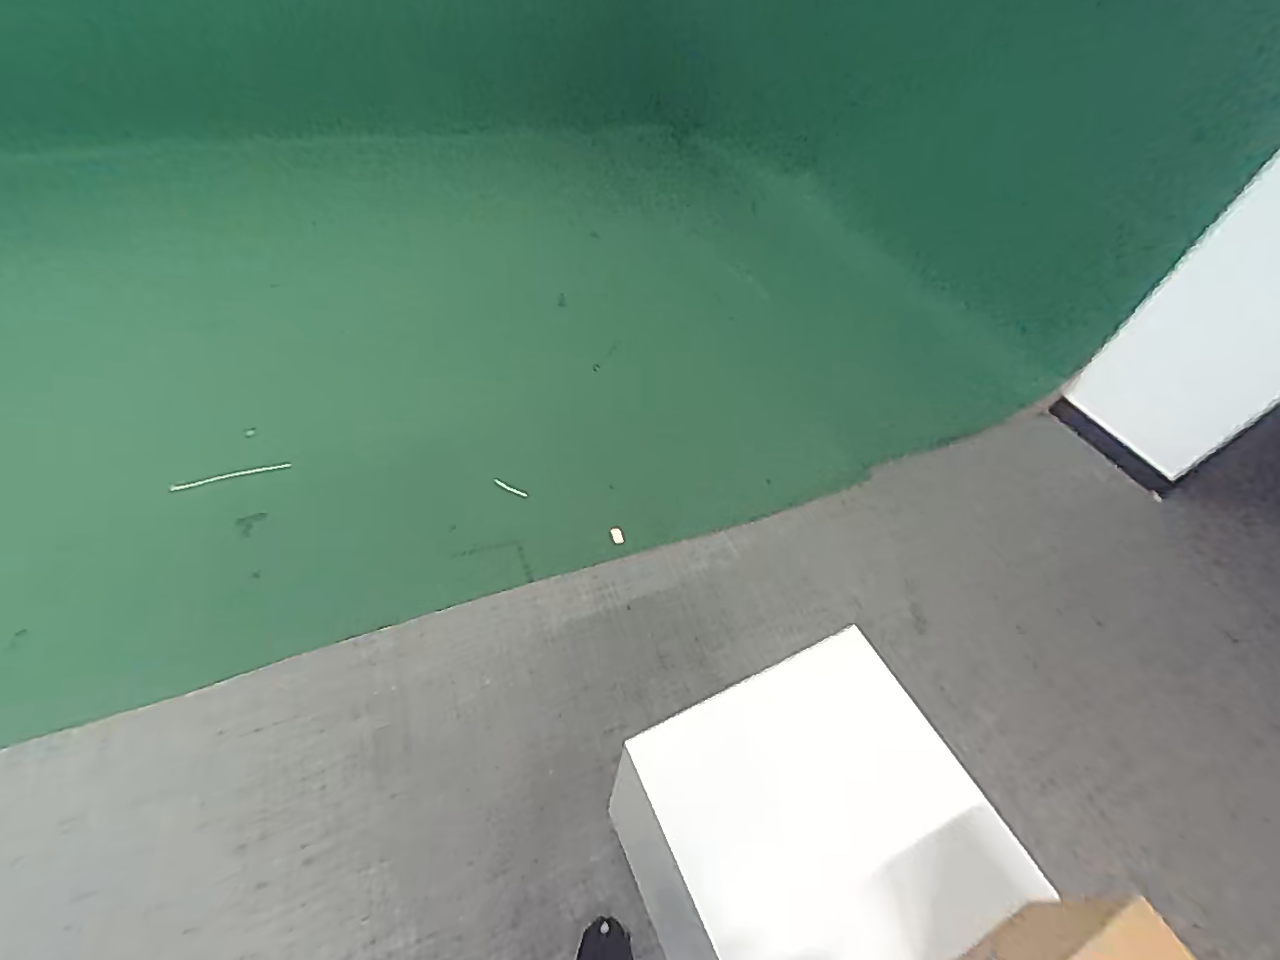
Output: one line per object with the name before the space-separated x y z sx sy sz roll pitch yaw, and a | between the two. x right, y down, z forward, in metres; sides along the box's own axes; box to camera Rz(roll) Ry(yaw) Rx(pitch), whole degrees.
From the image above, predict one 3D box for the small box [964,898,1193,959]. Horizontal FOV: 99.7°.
small box | 0.418 0.523 0.492 0.179 0.176 0.168 -18 55 -20
